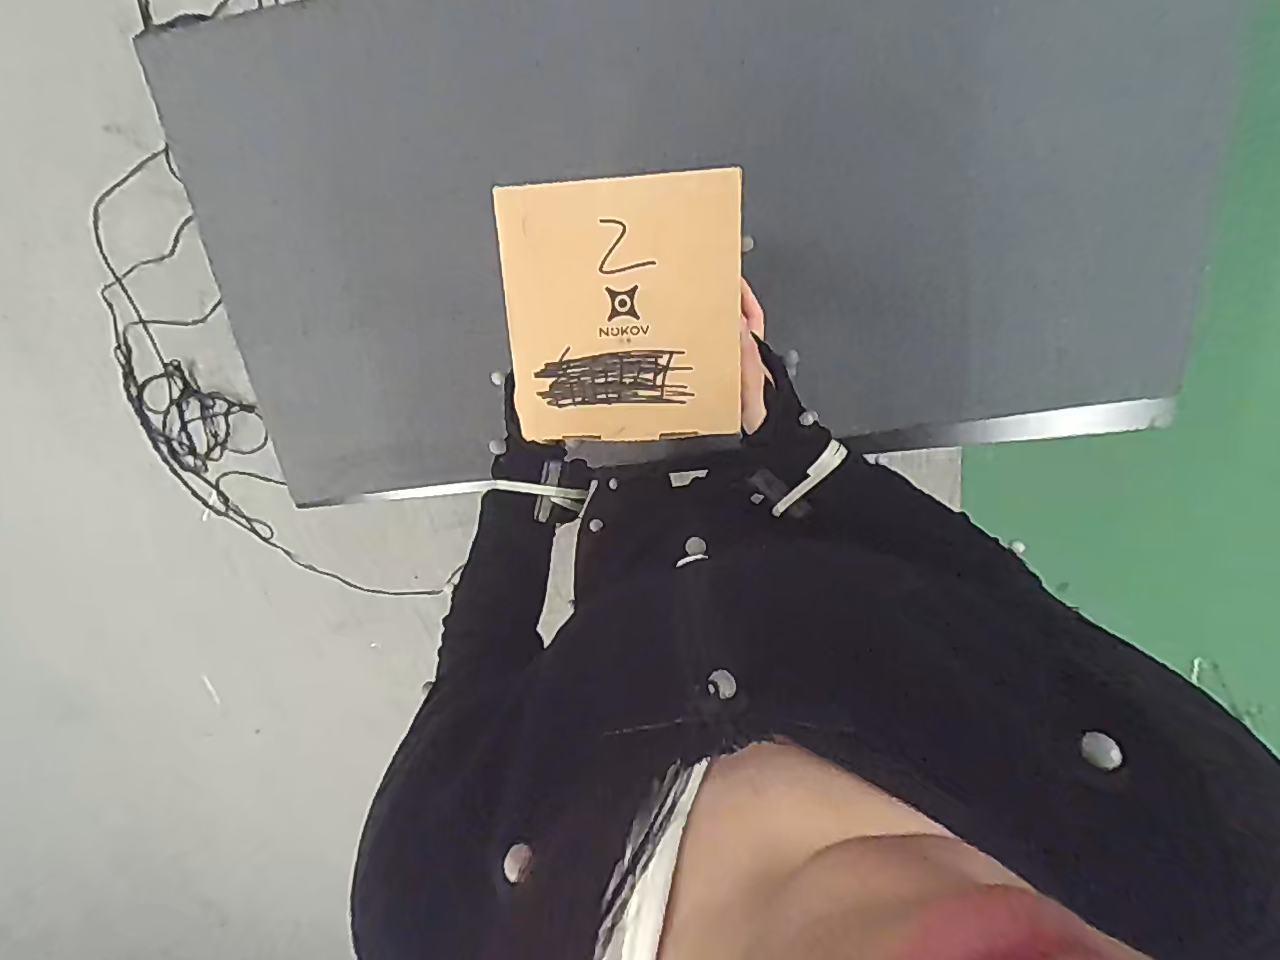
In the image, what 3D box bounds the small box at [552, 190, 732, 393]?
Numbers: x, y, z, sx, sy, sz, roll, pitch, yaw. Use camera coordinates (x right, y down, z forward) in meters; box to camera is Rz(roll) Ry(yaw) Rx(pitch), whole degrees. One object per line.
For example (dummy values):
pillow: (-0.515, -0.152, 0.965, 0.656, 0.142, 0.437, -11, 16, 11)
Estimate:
small box: (0.011, -0.197, 0.592, 0.168, 0.176, 0.179, -3, 107, 7)
